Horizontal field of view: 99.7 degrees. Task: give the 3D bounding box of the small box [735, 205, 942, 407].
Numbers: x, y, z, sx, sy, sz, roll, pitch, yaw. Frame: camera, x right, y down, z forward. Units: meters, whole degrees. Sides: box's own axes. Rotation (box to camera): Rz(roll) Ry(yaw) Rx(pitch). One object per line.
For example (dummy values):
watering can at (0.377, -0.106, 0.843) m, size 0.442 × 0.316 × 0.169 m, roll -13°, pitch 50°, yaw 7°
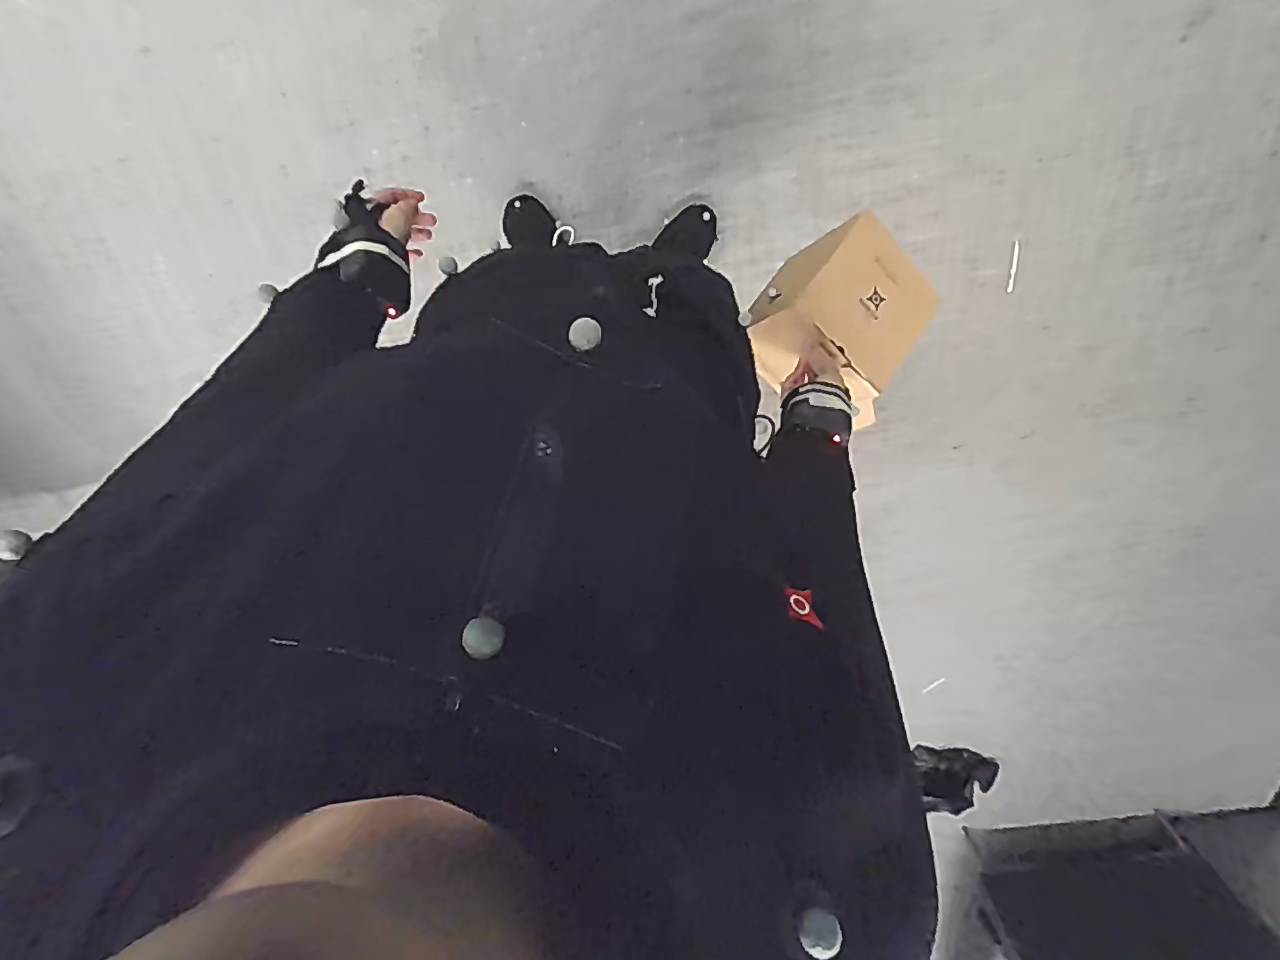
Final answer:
small box at (0.256, -0.219, 0.735) m, size 0.168 × 0.176 × 0.179 m, roll 42°, pitch 75°, yaw -17°
